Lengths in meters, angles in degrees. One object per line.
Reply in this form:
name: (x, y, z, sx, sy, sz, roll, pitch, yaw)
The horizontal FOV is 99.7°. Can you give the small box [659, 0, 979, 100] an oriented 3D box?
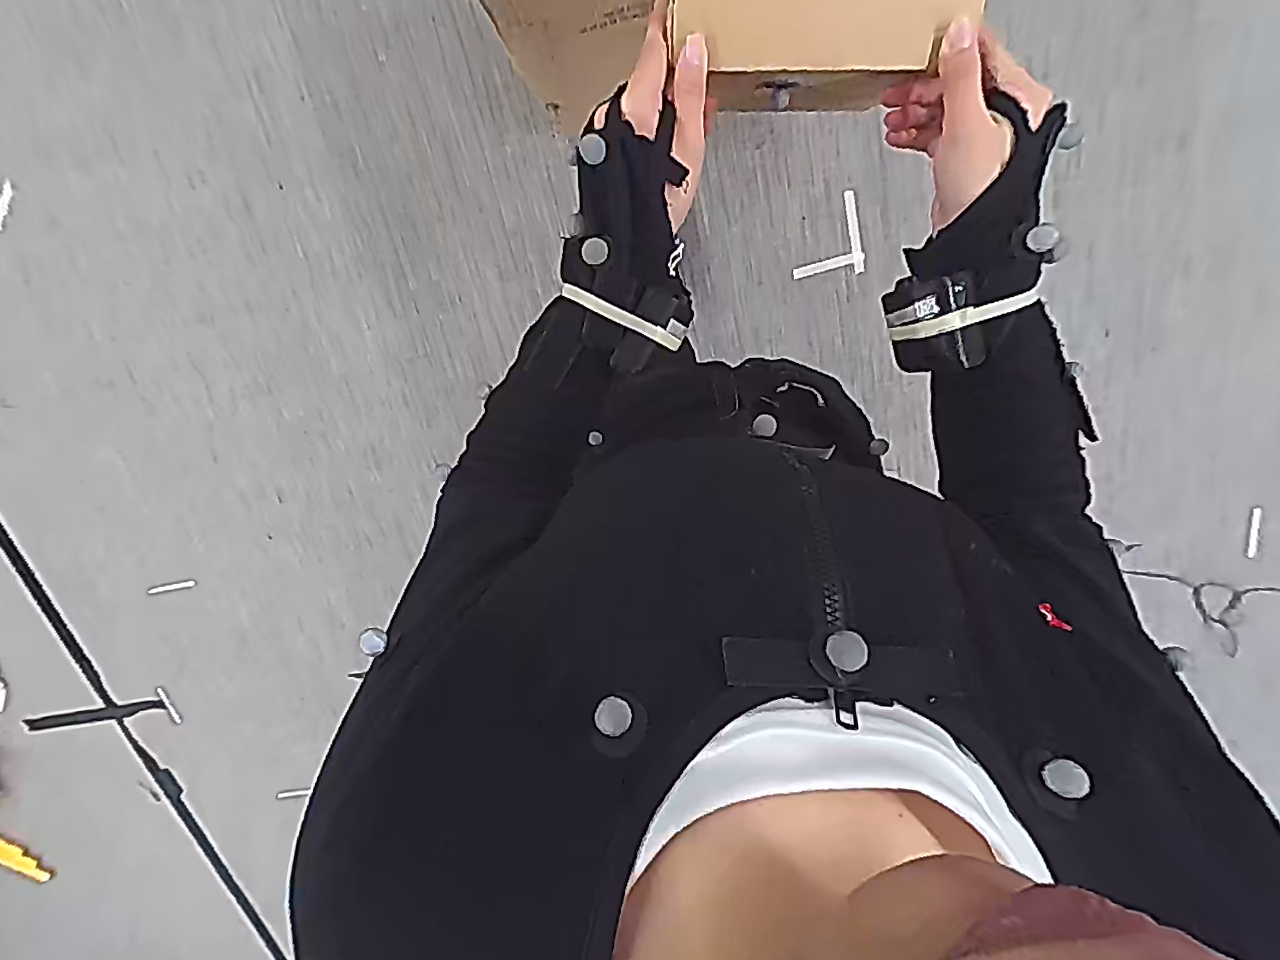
small box: (0.101, -0.354, 0.344, 0.179, 0.176, 0.168, -1, 117, 0)
